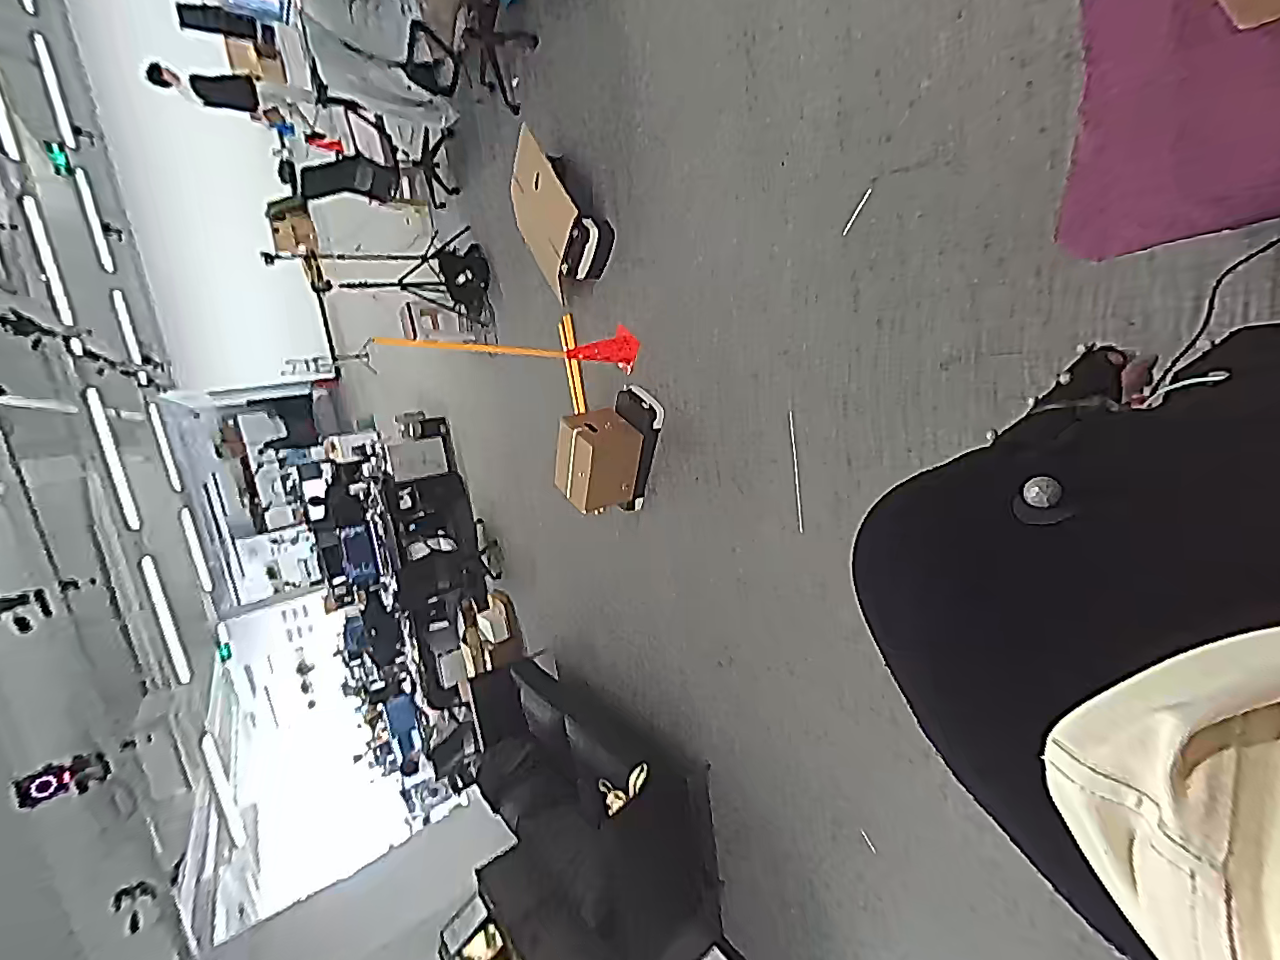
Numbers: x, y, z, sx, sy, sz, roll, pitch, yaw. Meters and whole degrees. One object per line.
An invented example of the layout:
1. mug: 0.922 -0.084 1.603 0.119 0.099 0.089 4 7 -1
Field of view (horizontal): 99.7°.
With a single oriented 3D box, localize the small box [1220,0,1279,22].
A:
1. small box: 0.611 -0.530 0.442 0.179 0.176 0.168 9 110 52
